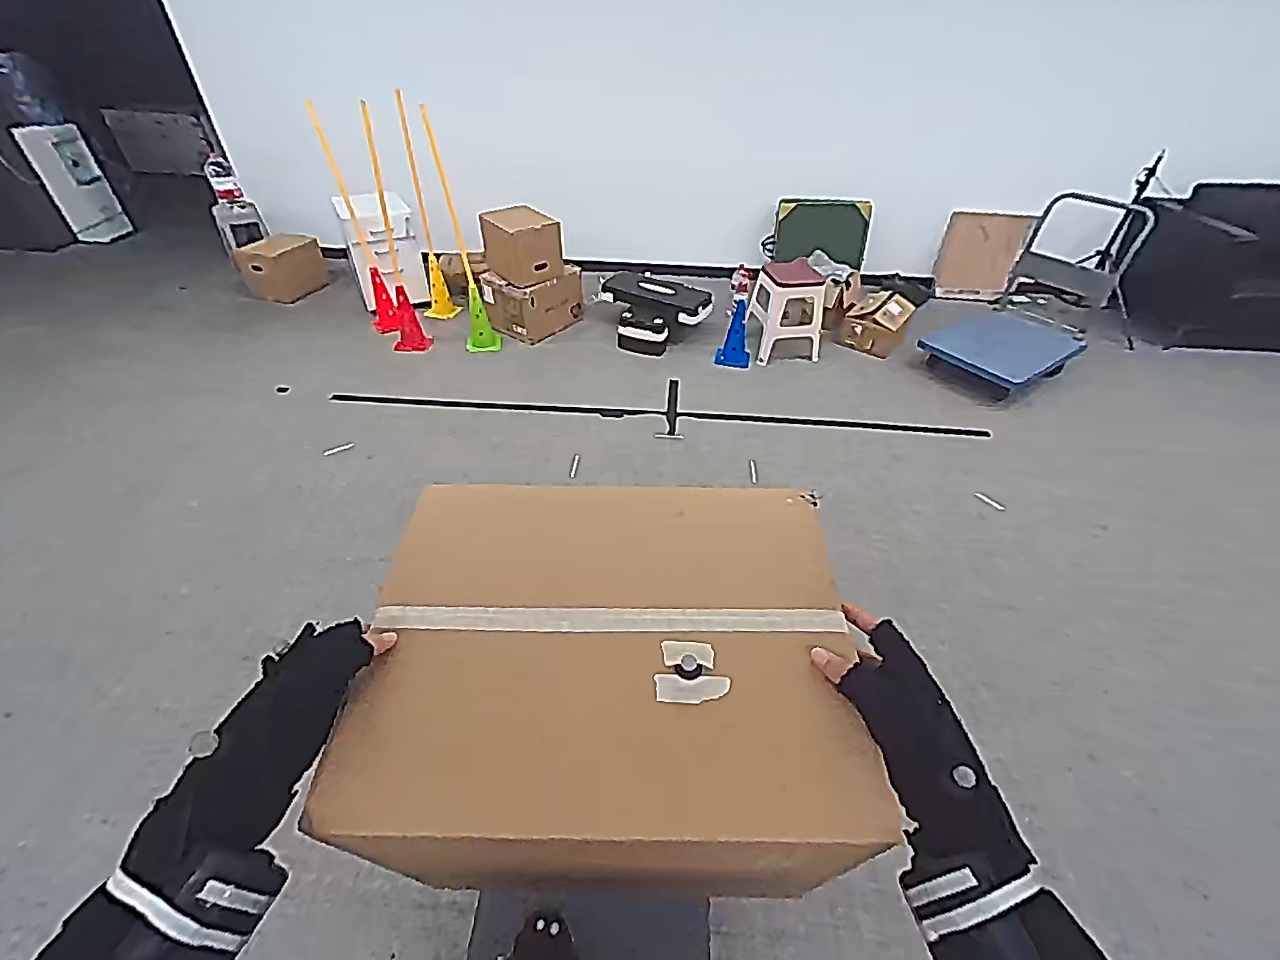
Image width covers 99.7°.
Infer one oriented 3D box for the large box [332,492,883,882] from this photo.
[{"bbox_3d":[-0.024,0.228,0.592,0.408,0.320,0.320,1,47,0],"label":"large box"}]
